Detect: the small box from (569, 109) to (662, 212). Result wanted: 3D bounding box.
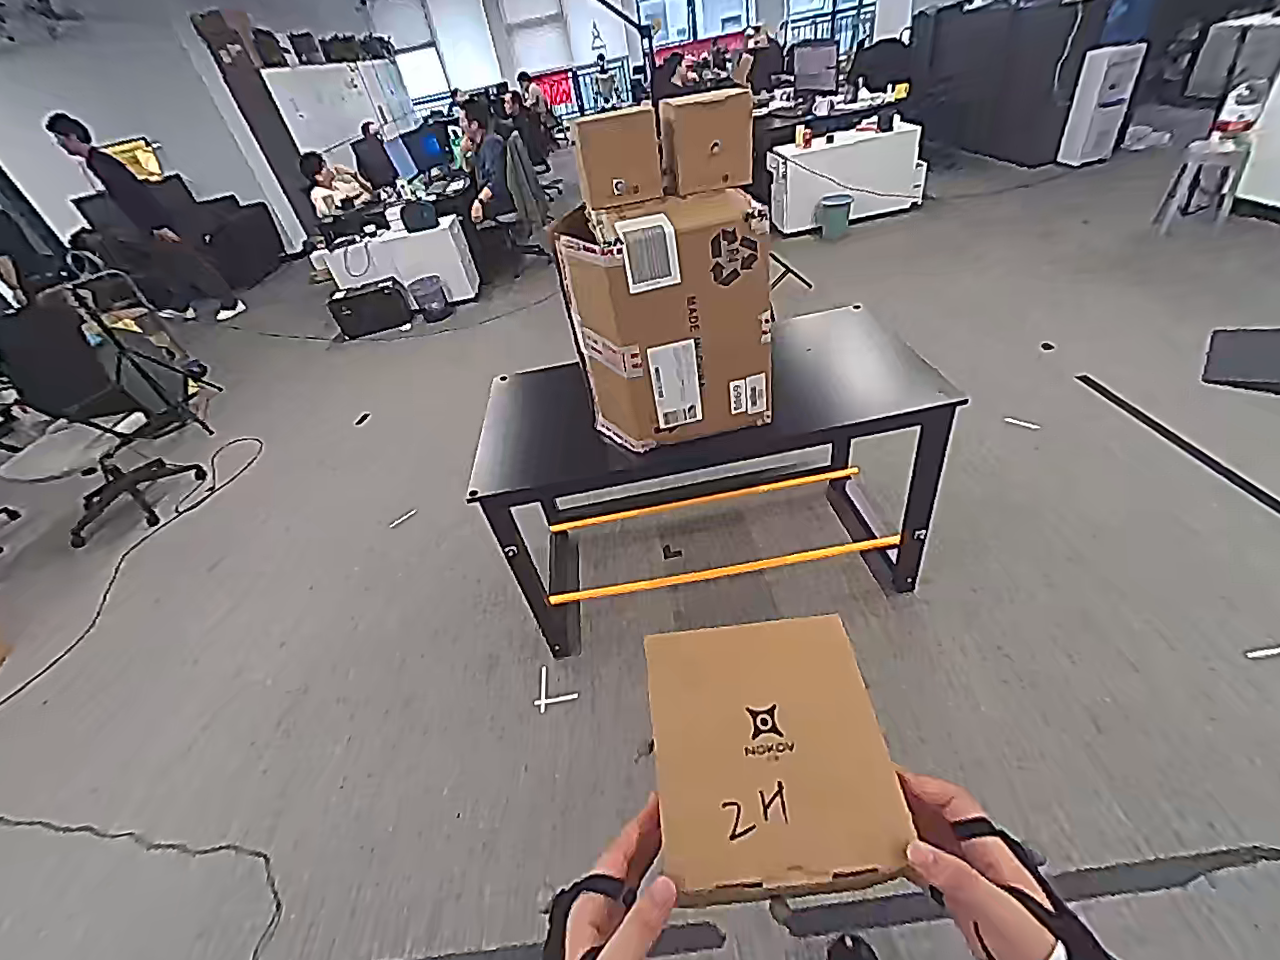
[{"bbox_3d":[-0.056,-0.714,1.208,0.168,0.176,0.179,-15,38,-4],"label":"small box"}]

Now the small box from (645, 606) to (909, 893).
[{"bbox_3d":[0.095,0.233,0.466,0.168,0.176,0.179,-7,48,1],"label":"small box"}]

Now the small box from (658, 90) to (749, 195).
[{"bbox_3d":[0.141,-0.746,1.200,0.168,0.176,0.179,-10,39,-2],"label":"small box"}]
